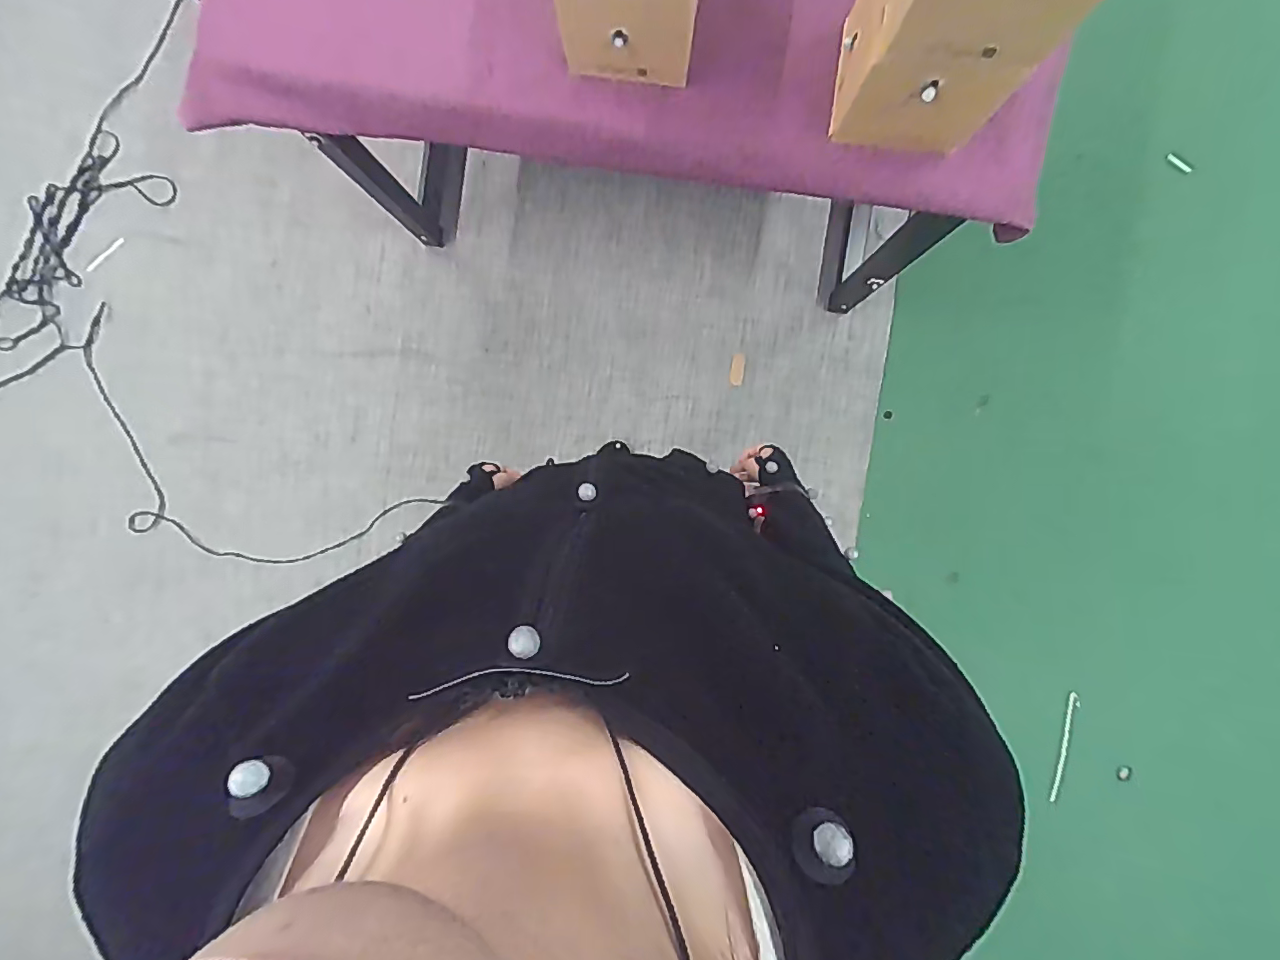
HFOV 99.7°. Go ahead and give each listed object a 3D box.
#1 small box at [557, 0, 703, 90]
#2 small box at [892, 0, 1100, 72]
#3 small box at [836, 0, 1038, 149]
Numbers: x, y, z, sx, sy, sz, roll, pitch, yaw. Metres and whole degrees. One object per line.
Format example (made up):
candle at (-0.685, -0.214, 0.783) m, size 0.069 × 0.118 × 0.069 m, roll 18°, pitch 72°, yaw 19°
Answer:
small box at (-0.002, -0.640, 0.685) m, size 0.168 × 0.176 × 0.179 m, roll 8°, pitch 91°, yaw 2°
small box at (0.357, -0.536, 0.506) m, size 0.168 × 0.176 × 0.179 m, roll 8°, pitch 93°, yaw 5°
small box at (0.364, -0.541, 0.670) m, size 0.179 × 0.176 × 0.168 m, roll 7°, pitch 93°, yaw 4°
